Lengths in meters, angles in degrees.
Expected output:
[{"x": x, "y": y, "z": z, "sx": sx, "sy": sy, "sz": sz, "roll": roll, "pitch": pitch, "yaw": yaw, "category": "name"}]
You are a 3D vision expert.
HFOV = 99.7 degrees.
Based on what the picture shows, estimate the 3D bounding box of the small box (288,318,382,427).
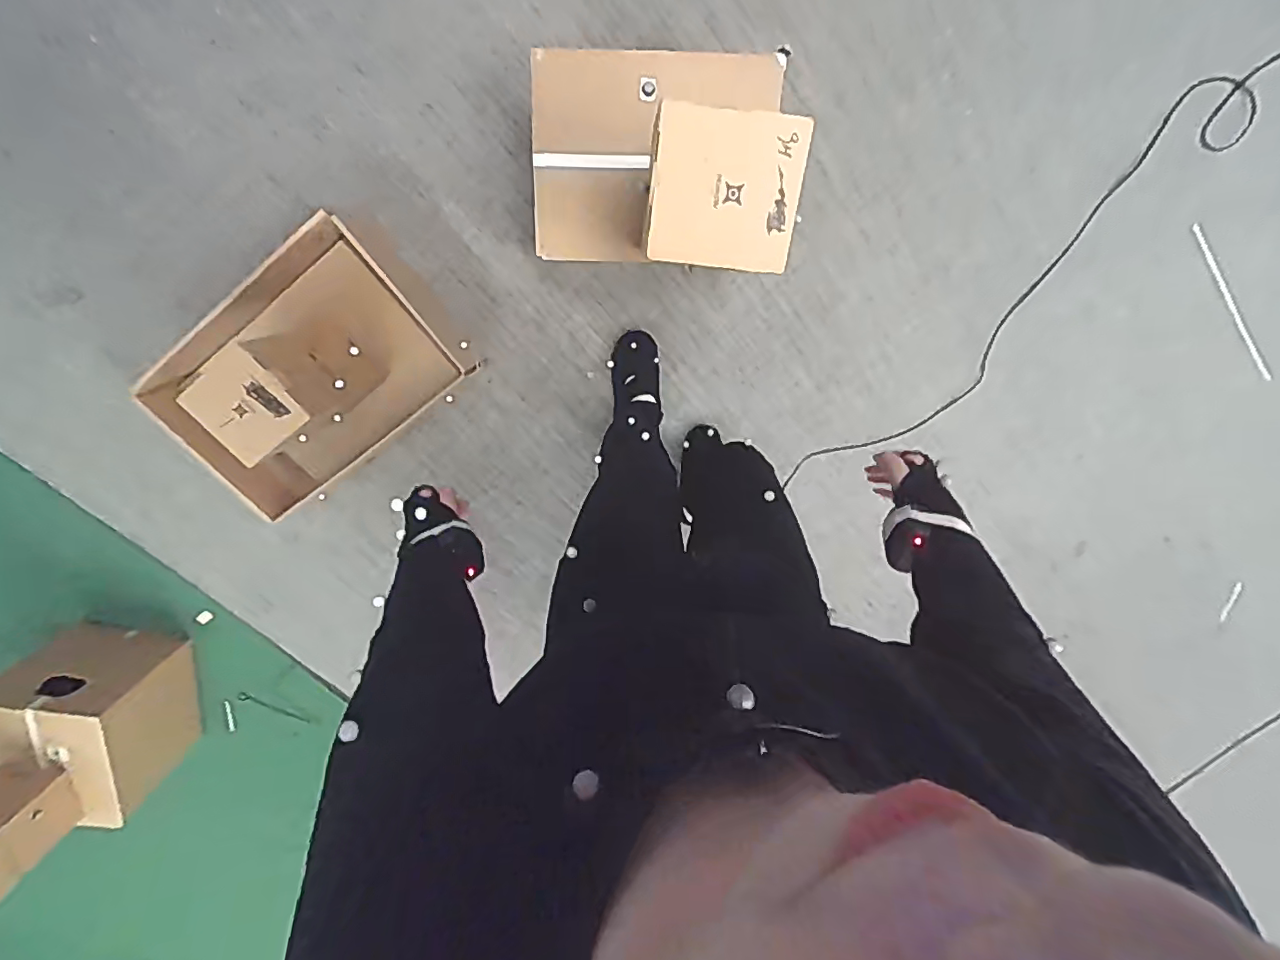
[{"x": -0.712, "y": -0.235, "z": 1.192, "sx": 0.179, "sy": 0.176, "sz": 0.168, "roll": -34, "pitch": 110, "yaw": 12, "category": "small box"}]

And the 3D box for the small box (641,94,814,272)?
[{"x": 0.097, "y": -0.370, "z": 0.696, "sx": 0.179, "sy": 0.176, "sz": 0.168, "roll": 6, "pitch": 115, "yaw": -3, "category": "small box"}]

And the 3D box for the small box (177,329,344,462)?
[{"x": -0.710, "y": -0.170, "z": 1.041, "sx": 0.179, "sy": 0.176, "sz": 0.168, "roll": -33, "pitch": 109, "yaw": 13, "category": "small box"}]
